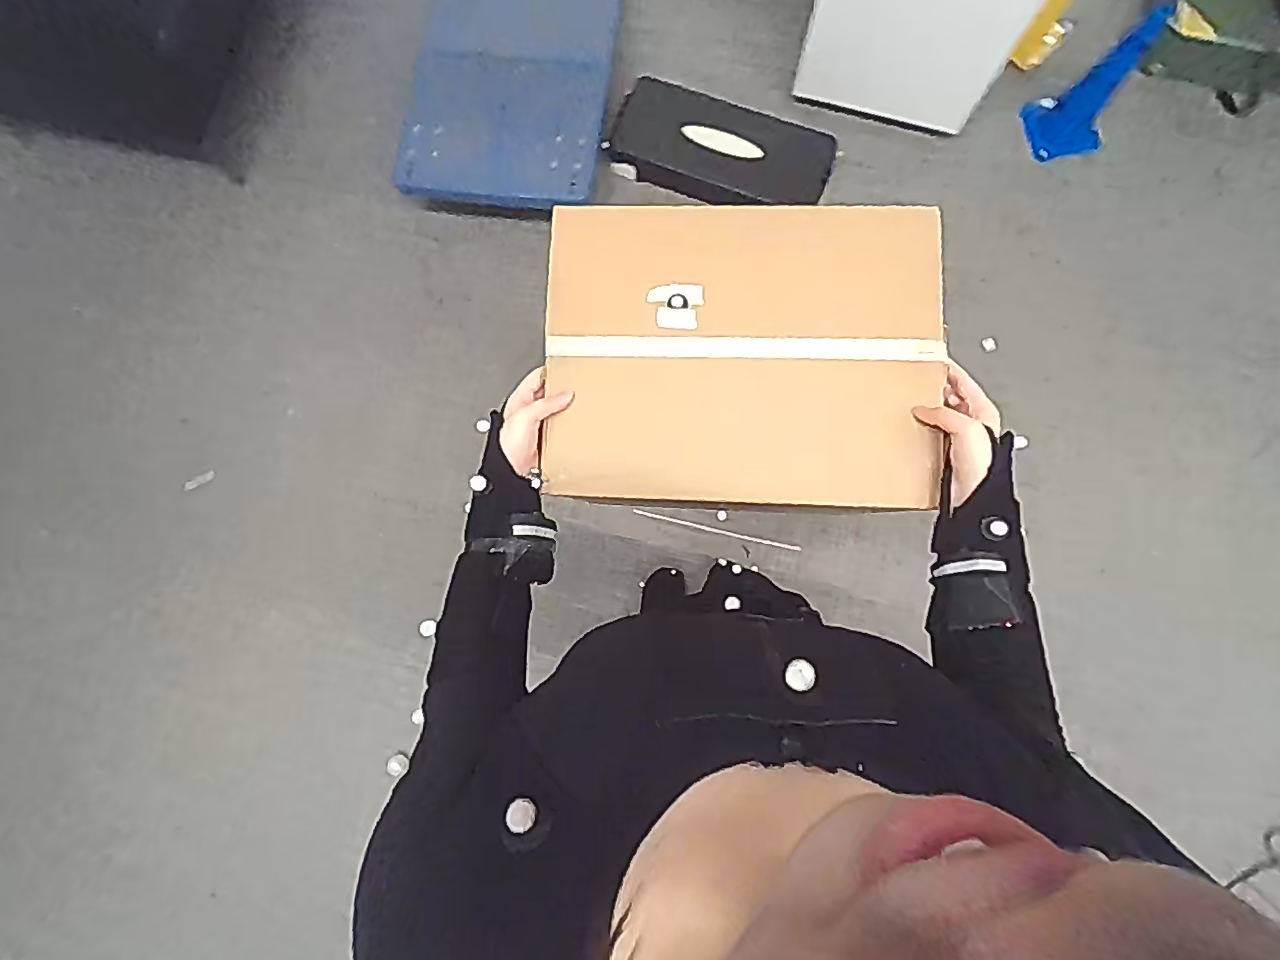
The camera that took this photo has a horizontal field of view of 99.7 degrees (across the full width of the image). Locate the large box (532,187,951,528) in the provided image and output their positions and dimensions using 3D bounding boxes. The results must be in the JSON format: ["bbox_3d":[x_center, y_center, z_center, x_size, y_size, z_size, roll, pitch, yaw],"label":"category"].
[{"bbox_3d":[0.115,-0.155,0.724,0.408,0.320,0.320,12,100,8],"label":"large box"}]
